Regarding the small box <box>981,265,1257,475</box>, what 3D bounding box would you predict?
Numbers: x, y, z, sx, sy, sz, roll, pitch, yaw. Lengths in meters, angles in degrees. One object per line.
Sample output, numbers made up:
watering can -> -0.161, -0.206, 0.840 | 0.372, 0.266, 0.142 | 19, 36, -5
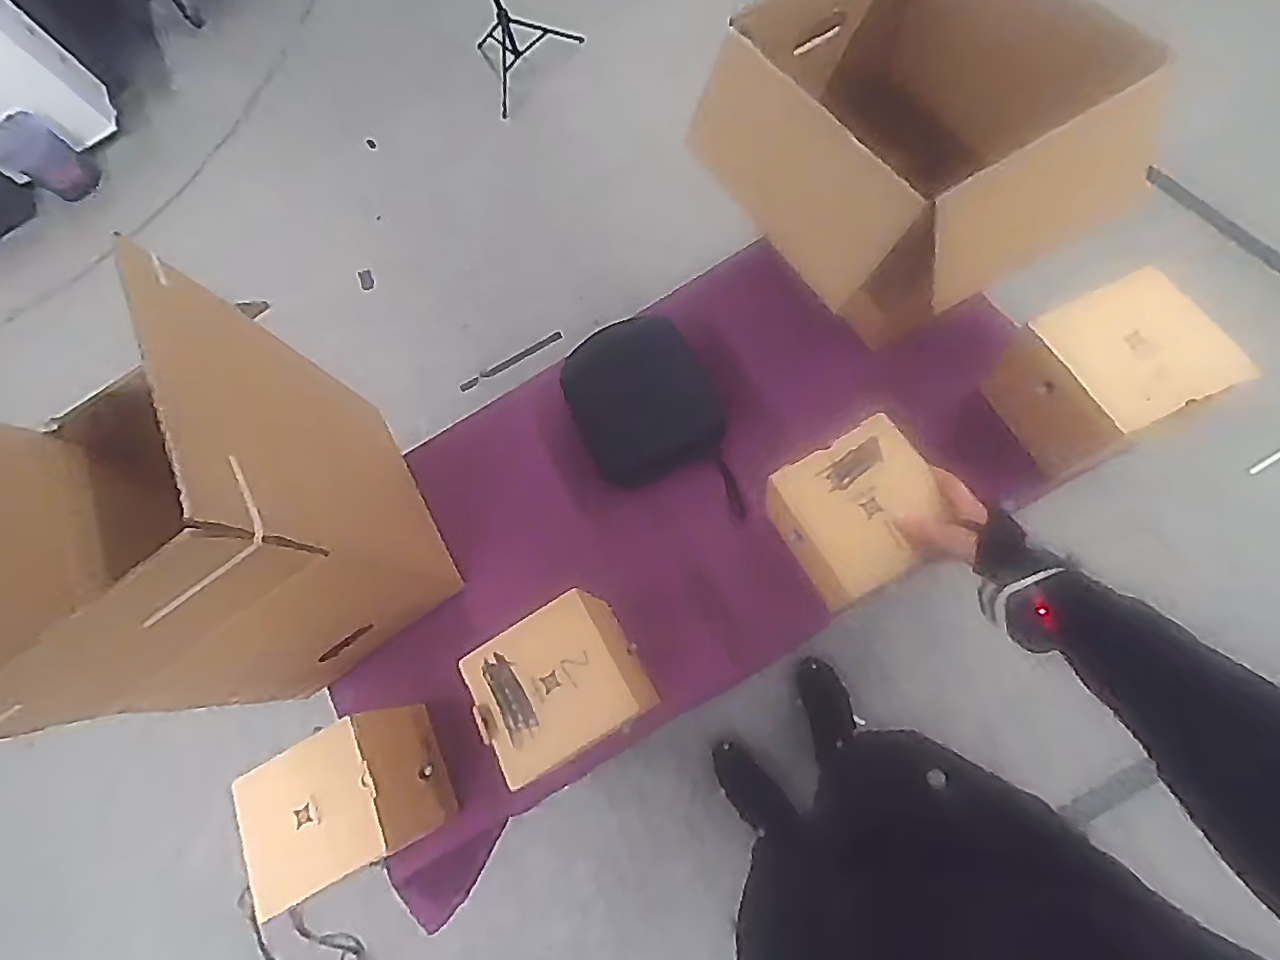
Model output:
small box -> 0.594, -0.133, 0.706 | 0.168, 0.176, 0.179 | -25, 68, 4

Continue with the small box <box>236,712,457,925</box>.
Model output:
small box -> -0.381, 0.432, 0.723 | 0.179, 0.176, 0.168 | -30, 68, -1
